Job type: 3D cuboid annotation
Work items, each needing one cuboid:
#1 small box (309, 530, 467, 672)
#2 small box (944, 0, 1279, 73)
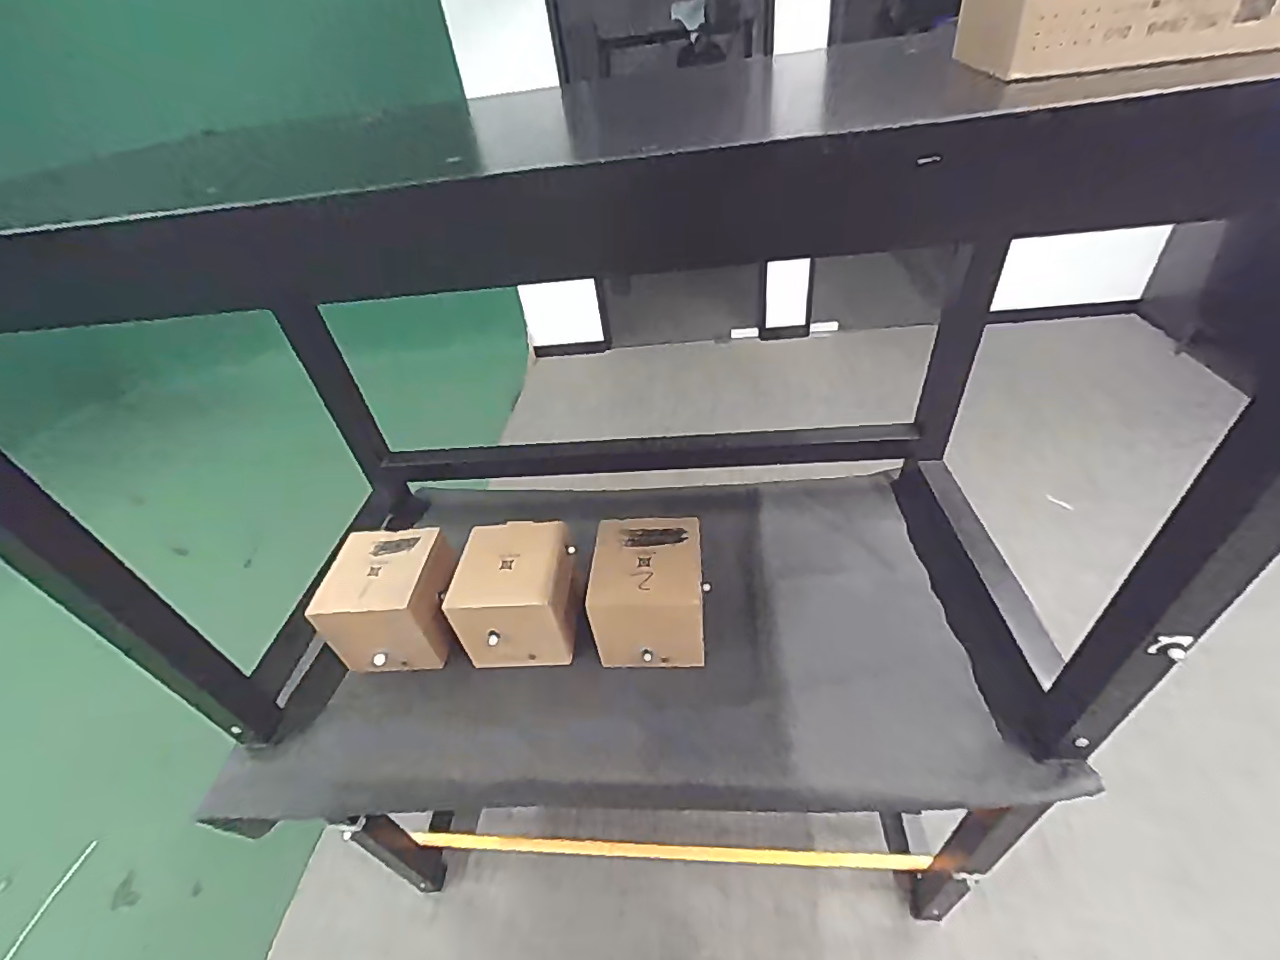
[{"bbox_3d":[-0.415,0.208,0.932,0.168,0.176,0.179,-5,40,6],"label":"small box"},{"bbox_3d":[0.284,-0.338,0.295,0.168,0.176,0.179,4,41,16],"label":"small box"}]
